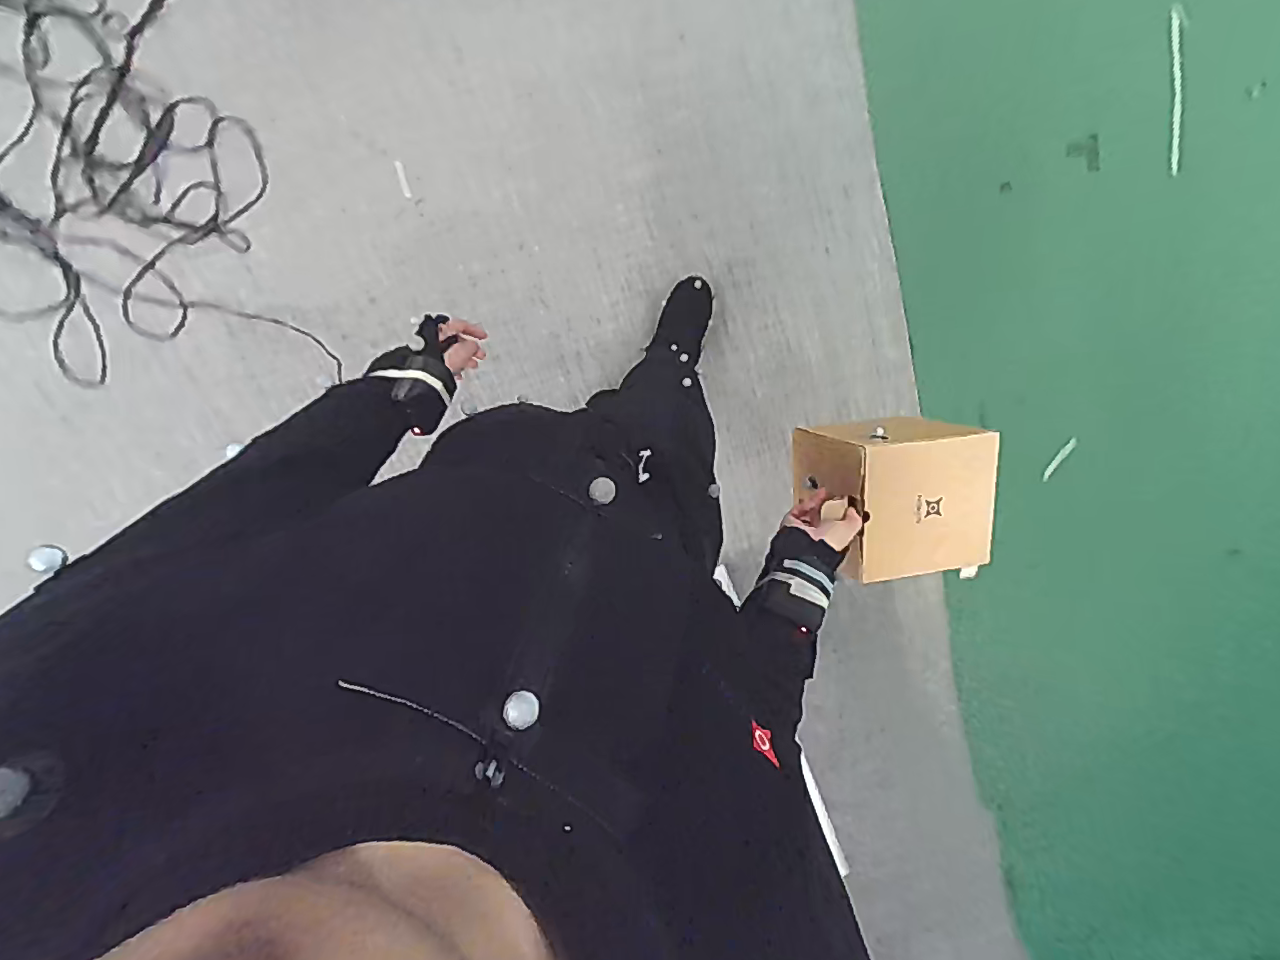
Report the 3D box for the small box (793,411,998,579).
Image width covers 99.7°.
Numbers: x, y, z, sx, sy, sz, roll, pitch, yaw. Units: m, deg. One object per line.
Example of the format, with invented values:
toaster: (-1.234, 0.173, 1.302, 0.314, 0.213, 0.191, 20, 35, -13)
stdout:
small box: (0.320, 0.007, 0.701, 0.179, 0.176, 0.168, -9, 104, -10)
